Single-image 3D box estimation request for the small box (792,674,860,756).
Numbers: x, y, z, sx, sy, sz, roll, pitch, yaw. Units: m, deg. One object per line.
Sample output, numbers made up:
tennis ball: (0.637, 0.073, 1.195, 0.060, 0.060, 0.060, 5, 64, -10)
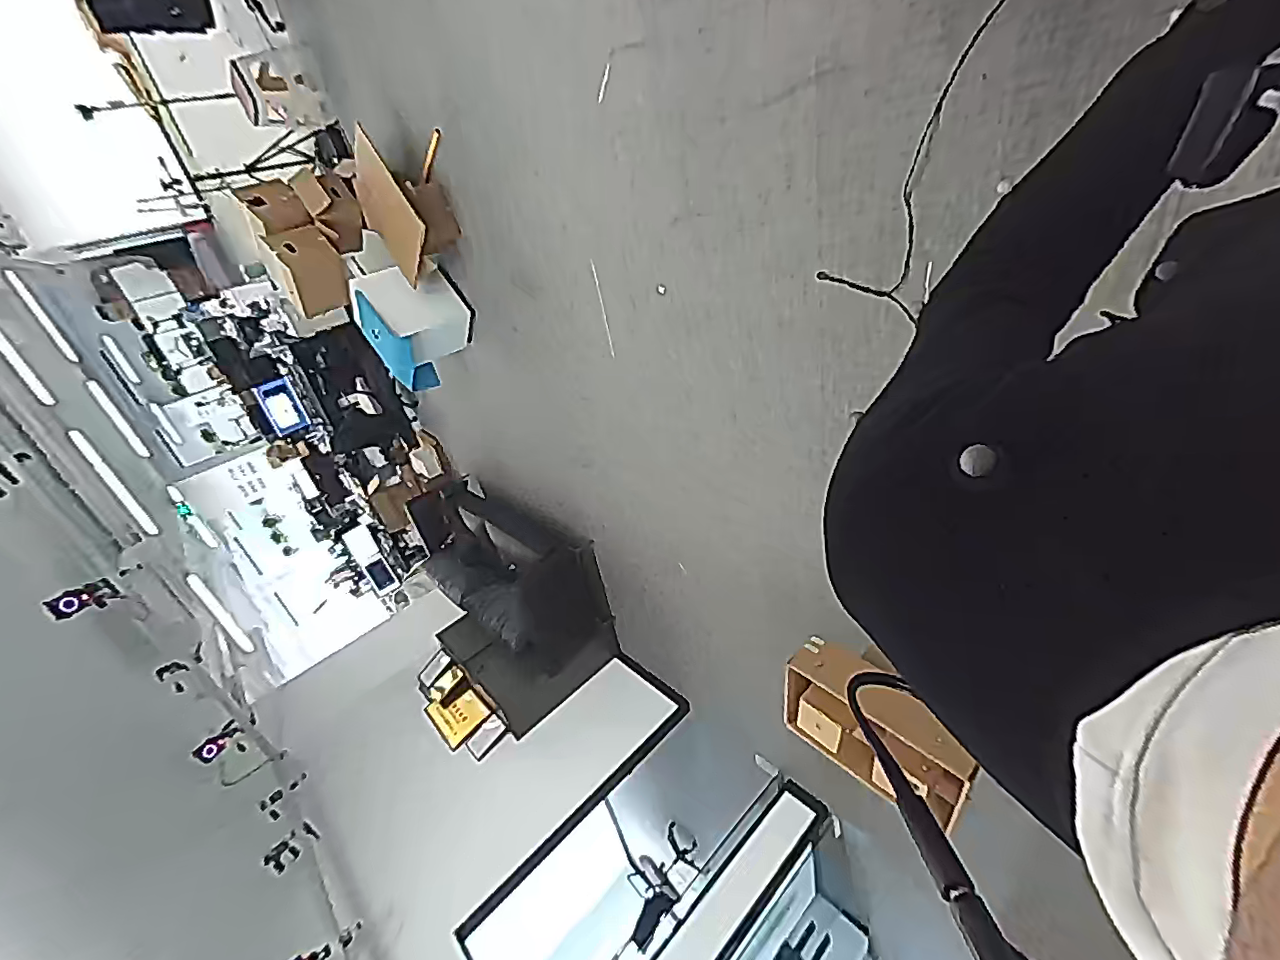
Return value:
small box: (0.674, 0.845, 1.955, 0.168, 0.176, 0.179, 28, 137, 40)
